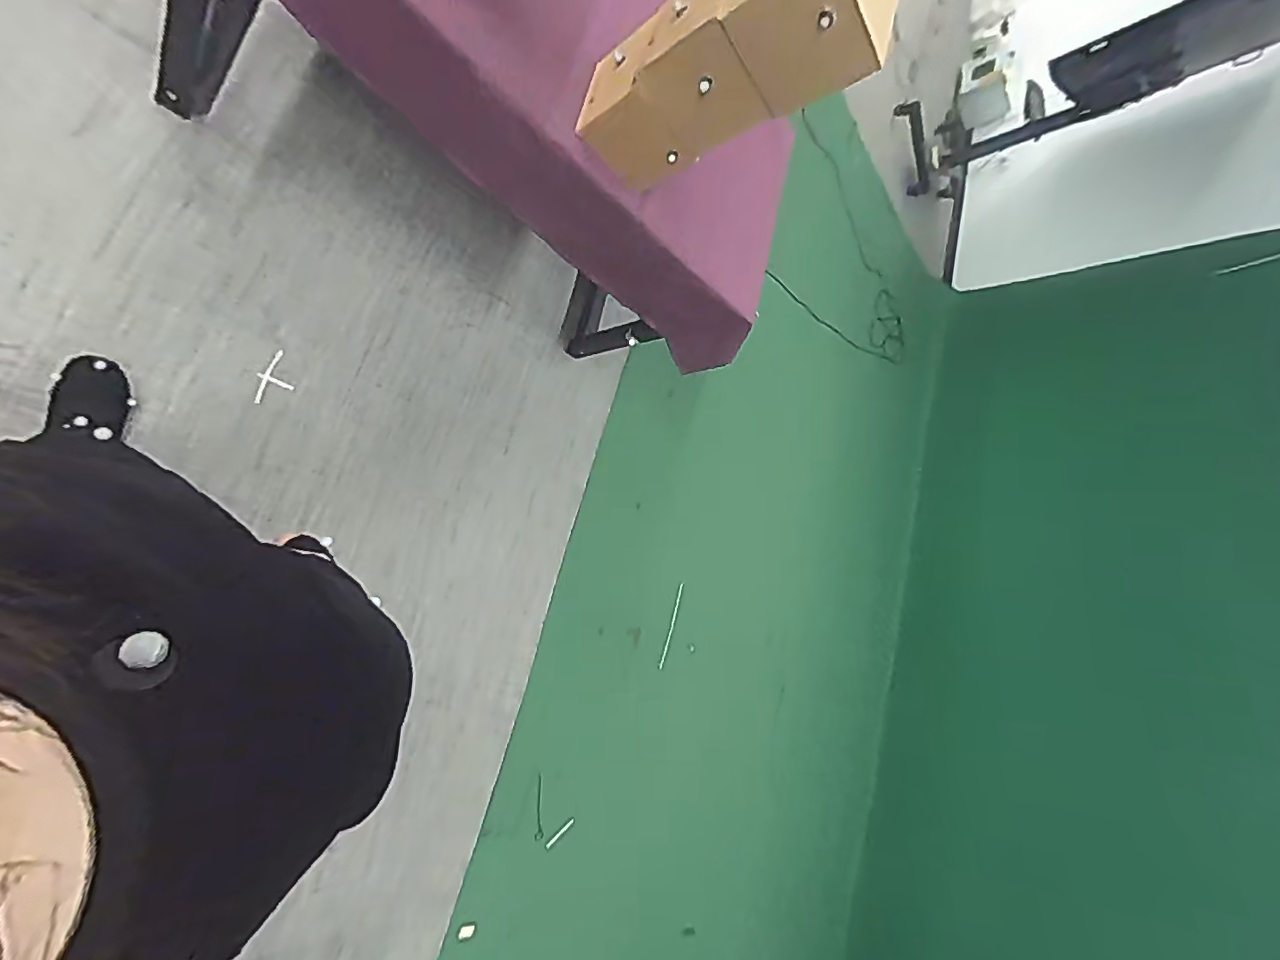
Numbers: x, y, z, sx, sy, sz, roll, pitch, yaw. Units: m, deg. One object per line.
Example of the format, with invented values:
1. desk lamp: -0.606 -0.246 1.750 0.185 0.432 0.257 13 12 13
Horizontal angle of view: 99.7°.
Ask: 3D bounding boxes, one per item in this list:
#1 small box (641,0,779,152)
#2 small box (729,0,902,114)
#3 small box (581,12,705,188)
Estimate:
1. small box: 0.128 -0.683 0.878 0.179 0.176 0.168 31 70 -40
2. small box: 0.250 -0.676 0.767 0.179 0.176 0.168 32 69 -42
3. small box: 0.017 -0.682 0.999 0.179 0.176 0.168 27 72 -42
